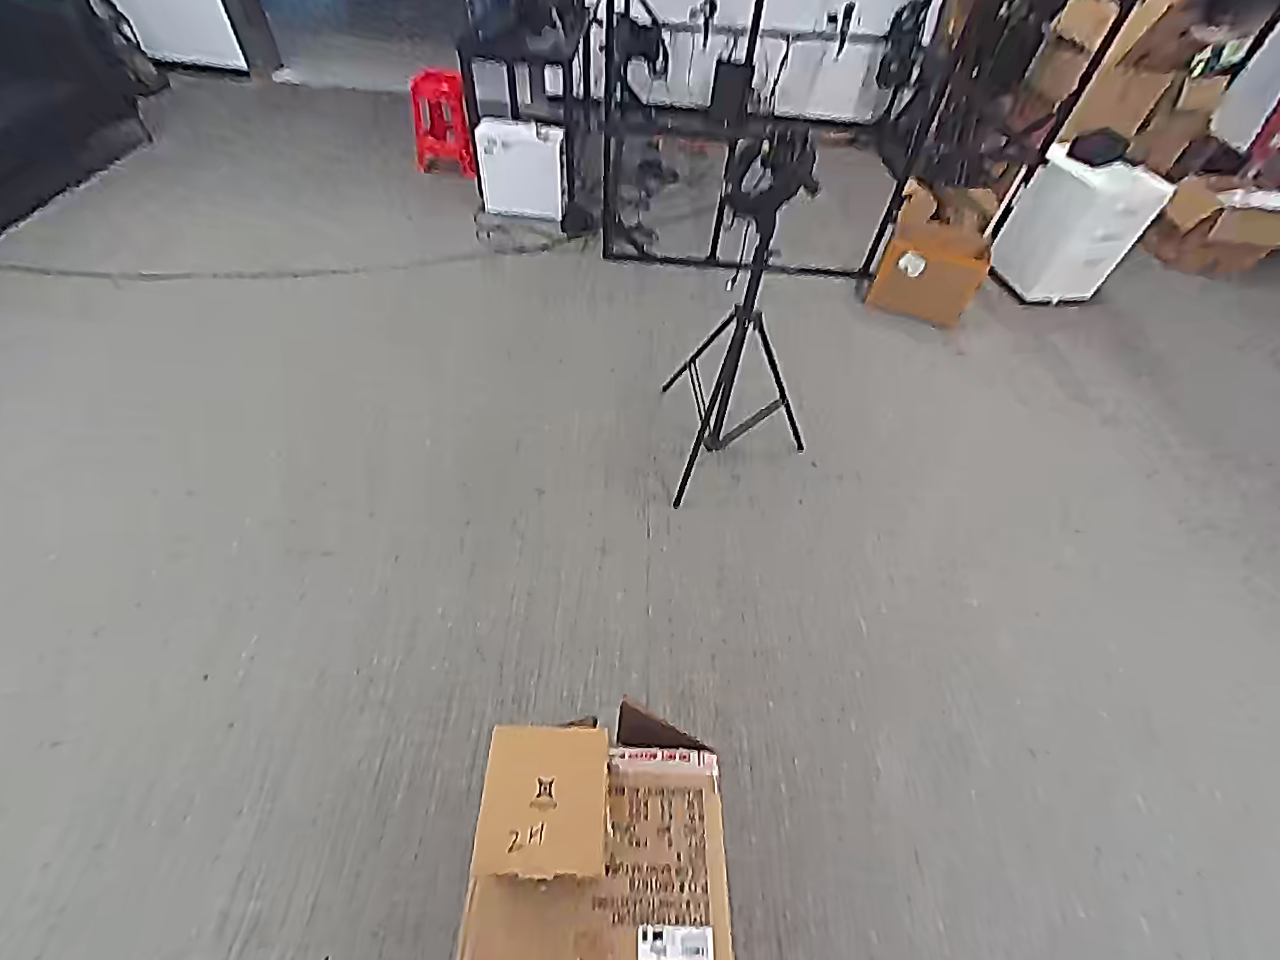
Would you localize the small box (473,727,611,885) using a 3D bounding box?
[{"bbox_3d":[-0.129,0.475,0.784,0.168,0.176,0.179,2,52,-1],"label":"small box"}]
